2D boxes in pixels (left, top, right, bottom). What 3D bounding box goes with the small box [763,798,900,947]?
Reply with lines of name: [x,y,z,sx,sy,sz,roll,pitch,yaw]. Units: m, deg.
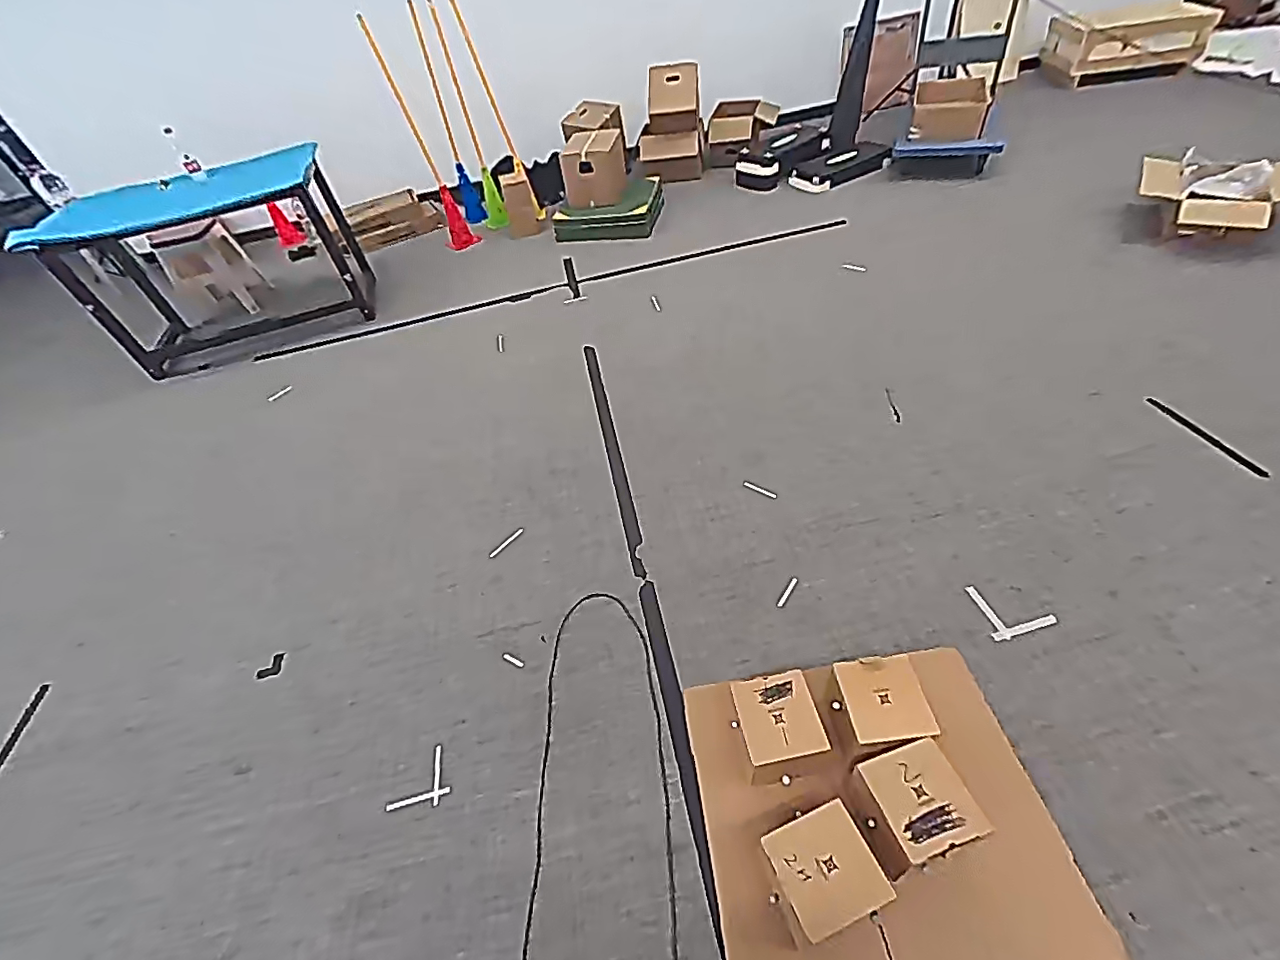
small box: [0.347,0.739,1.018,0.179,0.176,0.168,-20,45,-10]

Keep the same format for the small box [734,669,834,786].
small box: [0.309,0.553,1.206,0.168,0.176,0.179,-12,46,-1]
